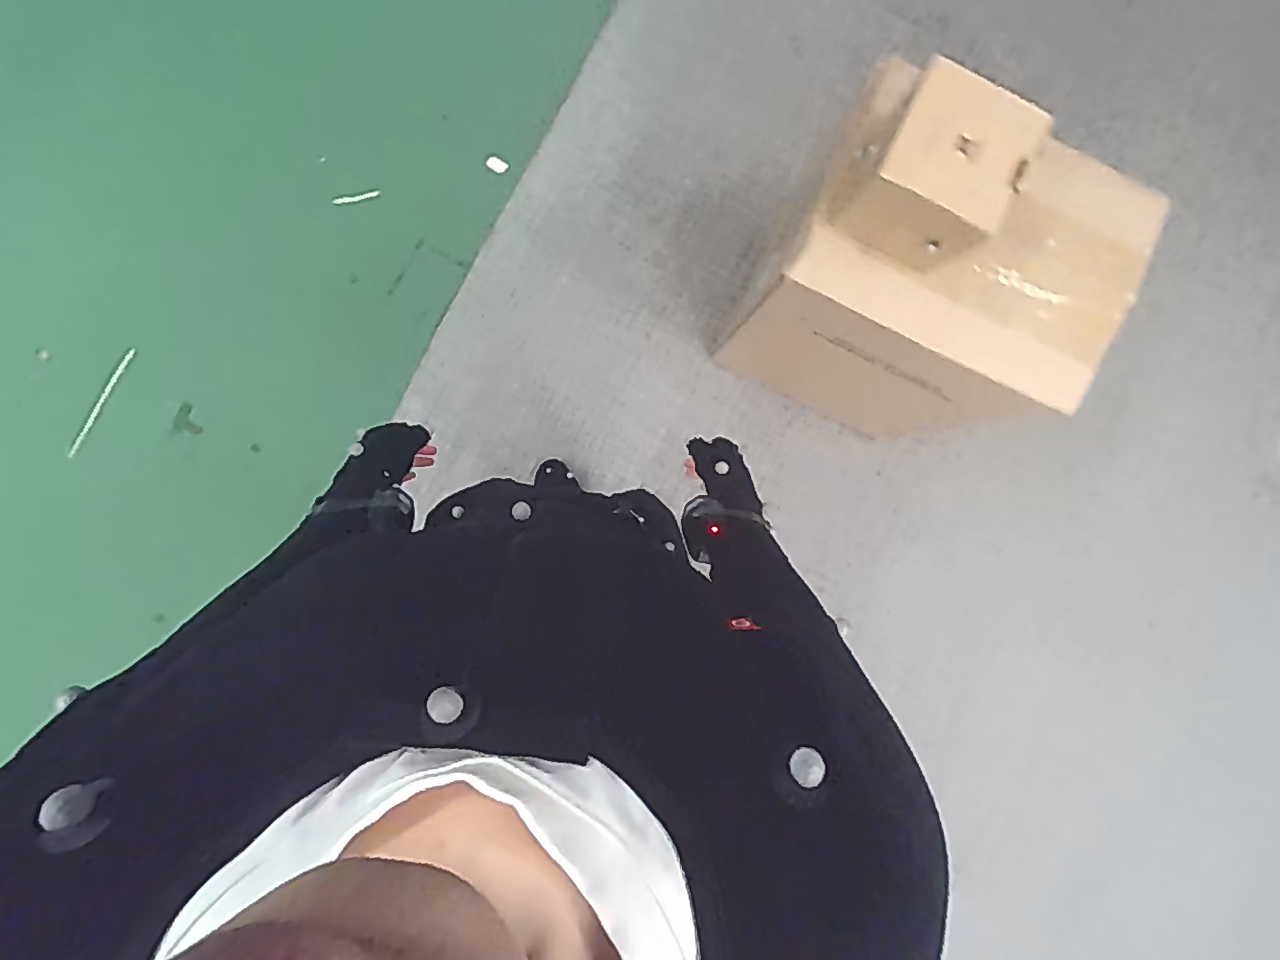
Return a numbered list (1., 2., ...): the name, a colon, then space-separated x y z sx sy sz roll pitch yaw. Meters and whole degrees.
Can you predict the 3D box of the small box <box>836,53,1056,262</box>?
1. small box: 0.415 -0.434 0.765 0.179 0.176 0.168 25 93 -2
